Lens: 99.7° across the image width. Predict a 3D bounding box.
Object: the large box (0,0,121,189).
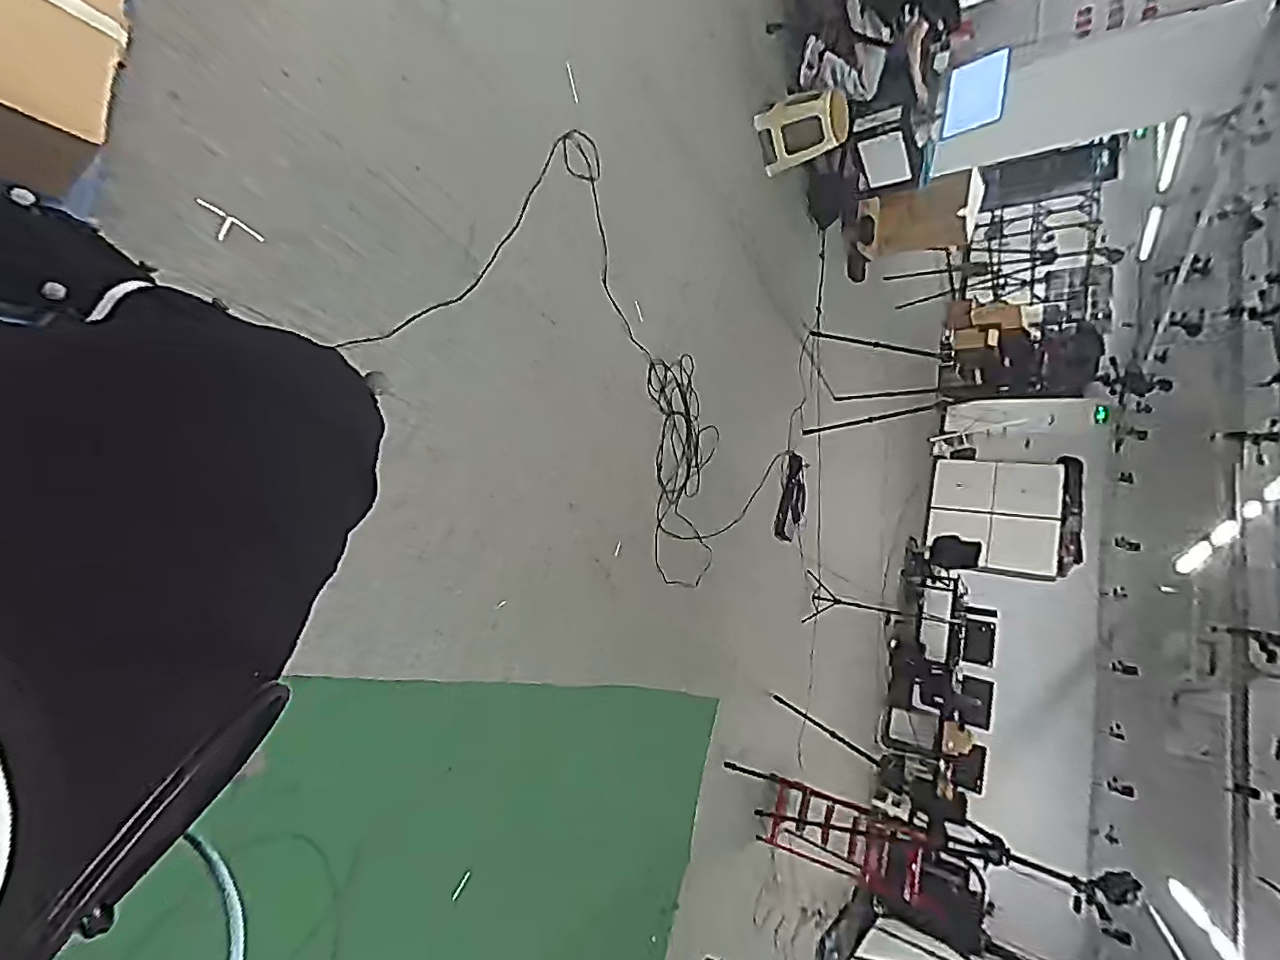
[{"bbox_3d":[-0.950,-0.639,0.671,0.408,0.320,0.320,10,86,-52],"label":"large box"}]
